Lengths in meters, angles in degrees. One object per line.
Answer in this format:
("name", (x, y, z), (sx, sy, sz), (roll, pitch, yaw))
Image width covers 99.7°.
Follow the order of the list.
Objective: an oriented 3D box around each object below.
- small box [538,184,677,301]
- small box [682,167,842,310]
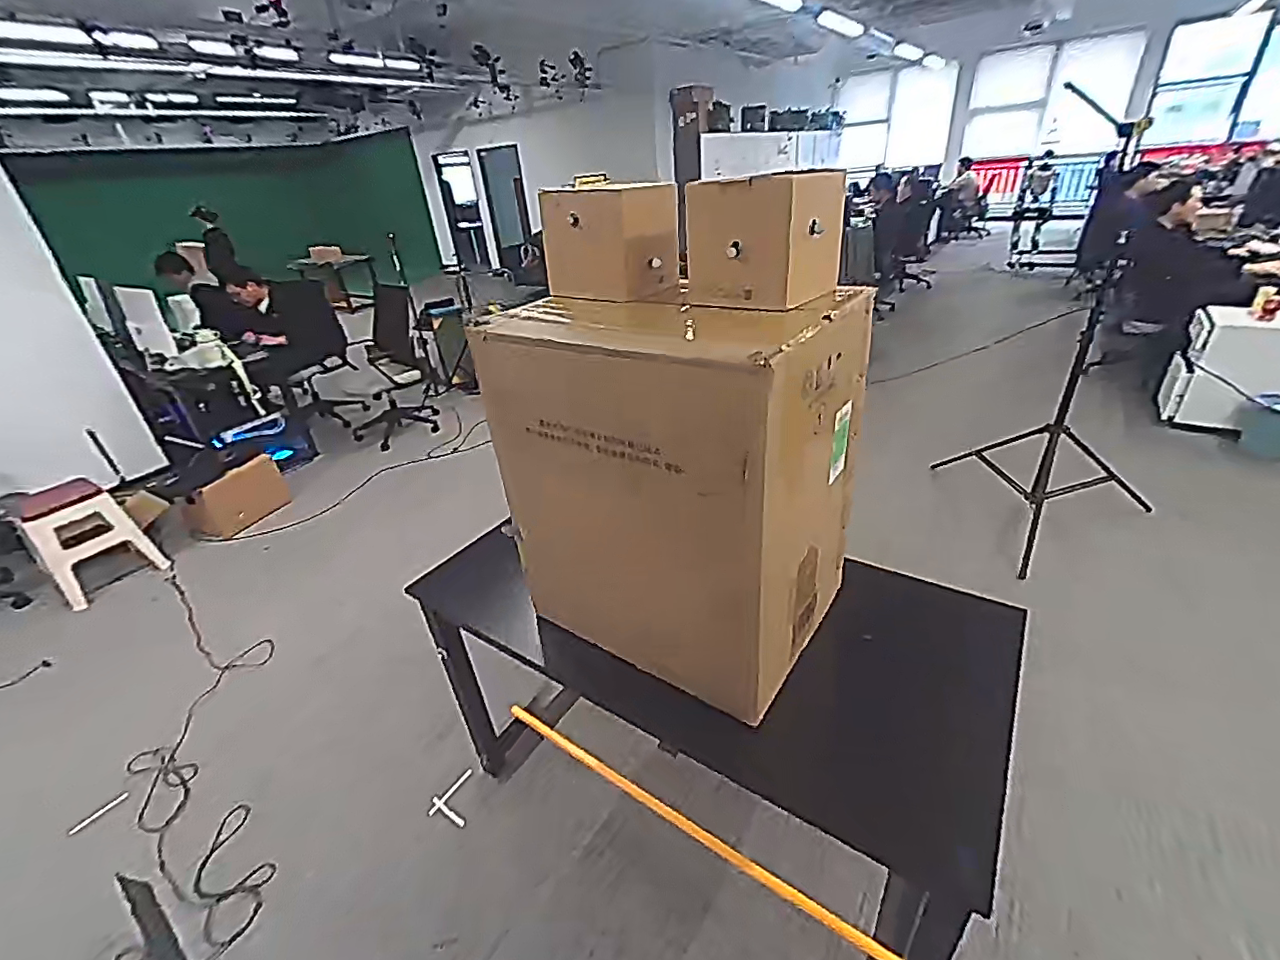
("small box", (-0.051, -0.414, 0.941), (0.179, 0.176, 0.168), (17, 36, 31))
("small box", (0.181, -0.354, 0.798), (0.168, 0.176, 0.179), (18, 36, 35))
